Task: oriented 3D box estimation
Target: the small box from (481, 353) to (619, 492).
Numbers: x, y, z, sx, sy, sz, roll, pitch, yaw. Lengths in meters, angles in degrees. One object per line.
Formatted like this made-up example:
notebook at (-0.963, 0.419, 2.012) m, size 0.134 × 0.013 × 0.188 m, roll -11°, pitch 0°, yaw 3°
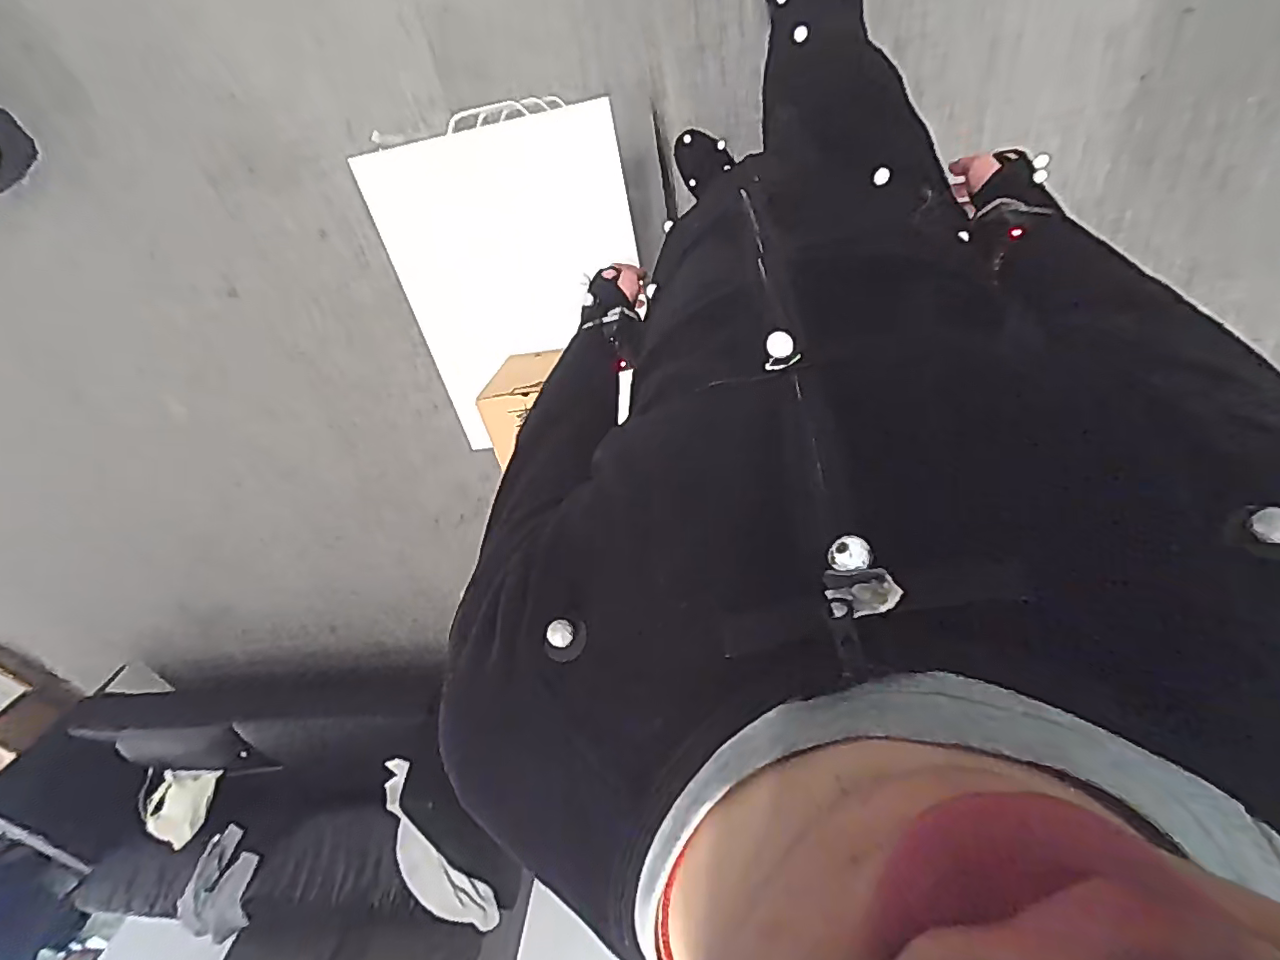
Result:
small box at (-0.140, -0.103, 0.912) m, size 0.168 × 0.176 × 0.179 m, roll -5°, pitch 125°, yaw 12°
